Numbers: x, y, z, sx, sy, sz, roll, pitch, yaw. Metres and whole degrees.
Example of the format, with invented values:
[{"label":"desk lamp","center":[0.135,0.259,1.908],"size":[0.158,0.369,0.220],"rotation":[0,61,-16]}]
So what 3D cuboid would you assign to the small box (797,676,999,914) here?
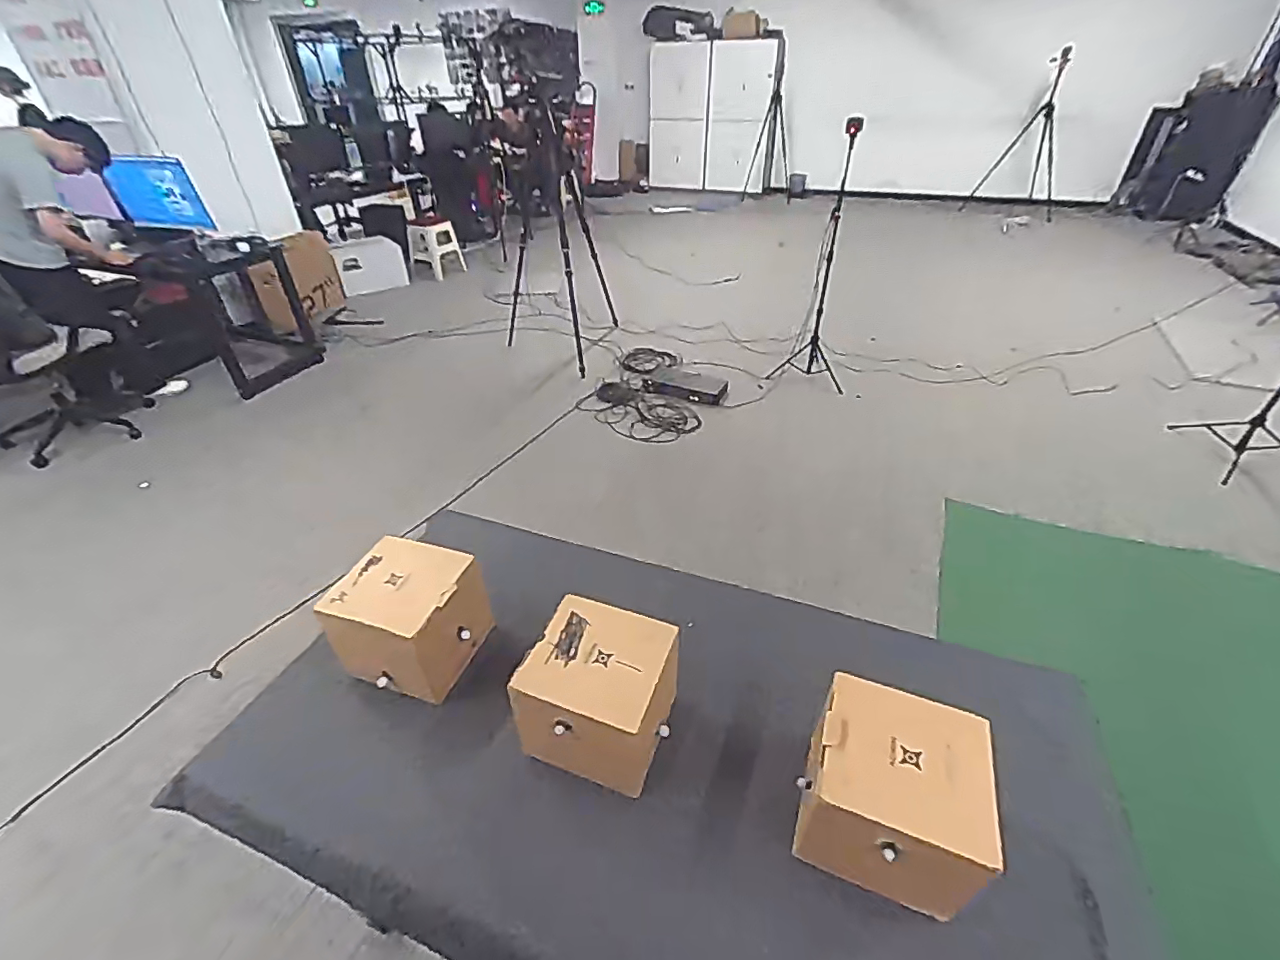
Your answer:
[{"label":"small box","center":[0.299,0.377,0.653],"size":[0.179,0.176,0.168],"rotation":[14,40,18]}]

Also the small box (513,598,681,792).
[{"label":"small box","center":[-0.052,0.300,0.760],"size":[0.179,0.176,0.168],"rotation":[13,39,17]}]

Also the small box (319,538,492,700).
[{"label":"small box","center":[-0.359,0.224,0.868],"size":[0.179,0.176,0.168],"rotation":[11,38,15]}]
